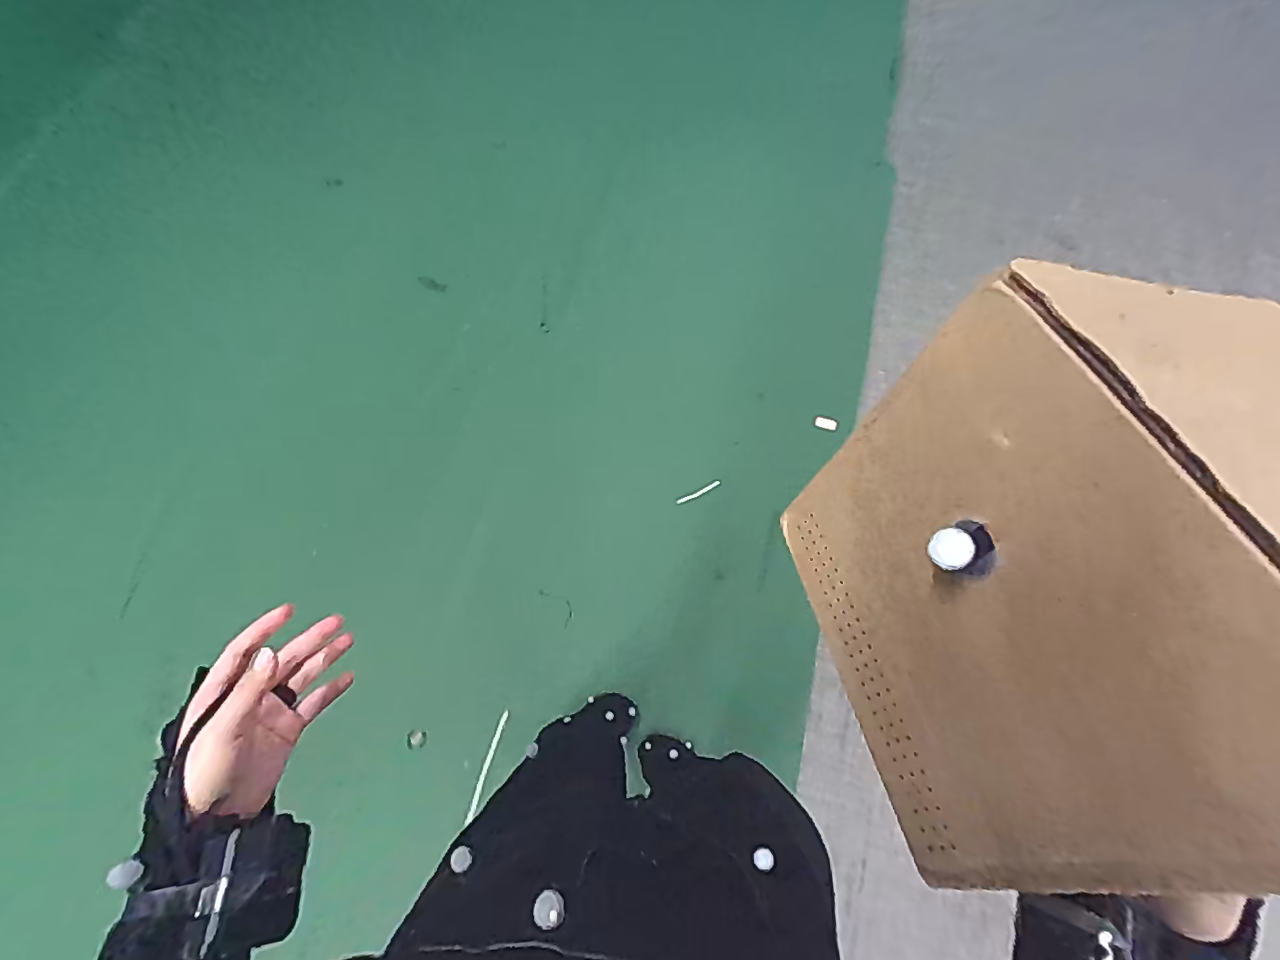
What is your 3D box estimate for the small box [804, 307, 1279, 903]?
[{"bbox_3d":[0.200,0.055,0.231,0.168,0.176,0.179,-2,54,-18],"label":"small box"}]
